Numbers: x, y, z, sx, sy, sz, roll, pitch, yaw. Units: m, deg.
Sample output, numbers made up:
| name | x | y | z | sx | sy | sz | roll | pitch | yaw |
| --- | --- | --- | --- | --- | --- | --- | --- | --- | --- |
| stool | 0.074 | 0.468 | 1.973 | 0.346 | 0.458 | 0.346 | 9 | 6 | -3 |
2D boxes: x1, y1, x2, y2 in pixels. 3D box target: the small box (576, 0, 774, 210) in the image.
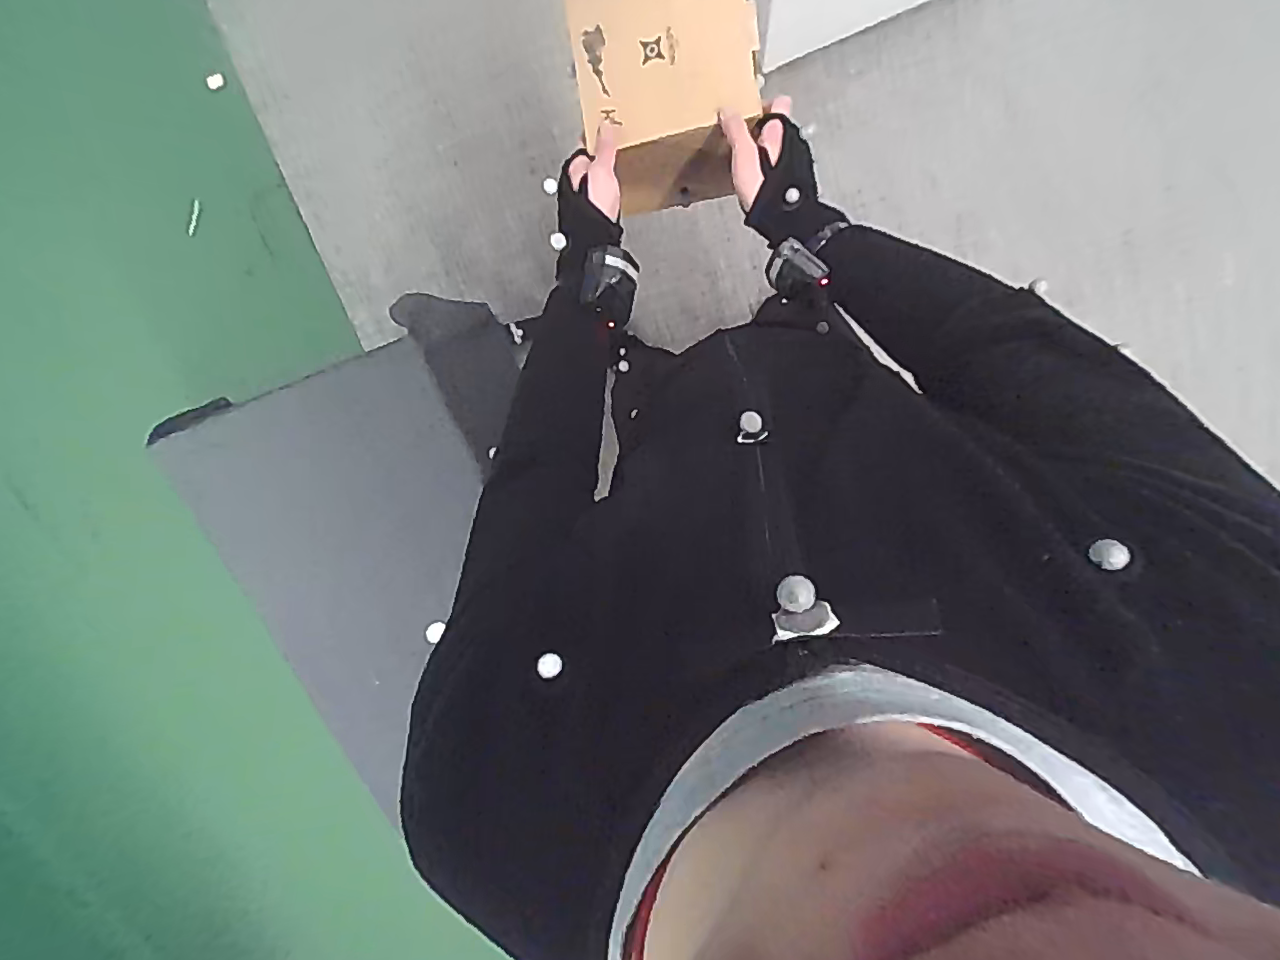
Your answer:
| name | x | y | z | sx | sy | sz | roll | pitch | yaw |
| --- | --- | --- | --- | --- | --- | --- | --- | --- | --- |
| small box | 0.039 | -0.420 | 0.587 | 0.179 | 0.176 | 0.168 | -7 | 94 | 7 |
